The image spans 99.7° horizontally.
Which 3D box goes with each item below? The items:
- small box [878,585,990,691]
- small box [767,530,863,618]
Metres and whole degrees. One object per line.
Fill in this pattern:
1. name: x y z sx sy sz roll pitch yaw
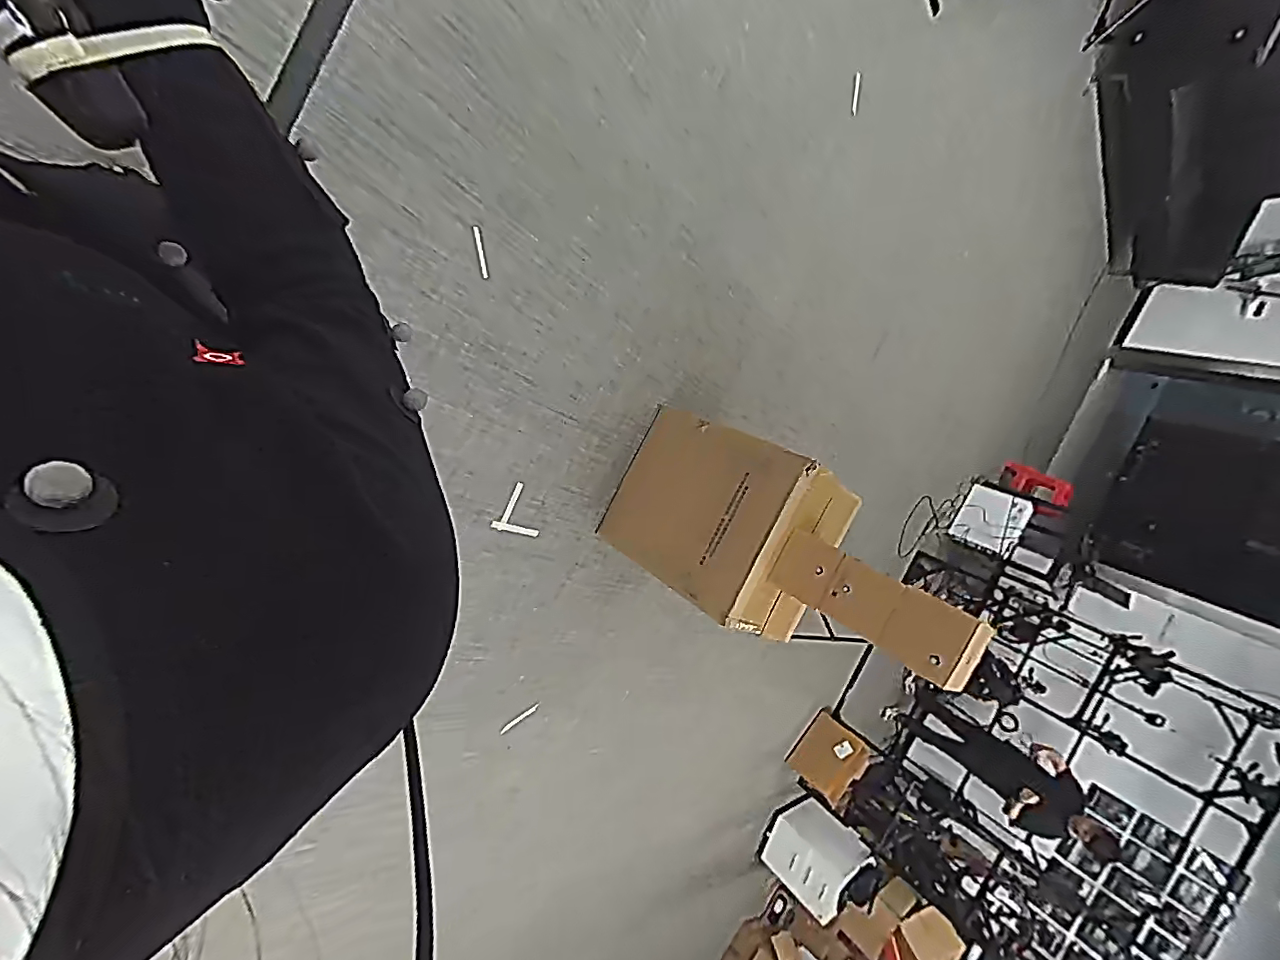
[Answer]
1. small box: 0.697 0.378 1.297 0.168 0.176 0.179 26 92 -45
2. small box: 0.490 0.261 1.525 0.168 0.176 0.179 26 93 -45
